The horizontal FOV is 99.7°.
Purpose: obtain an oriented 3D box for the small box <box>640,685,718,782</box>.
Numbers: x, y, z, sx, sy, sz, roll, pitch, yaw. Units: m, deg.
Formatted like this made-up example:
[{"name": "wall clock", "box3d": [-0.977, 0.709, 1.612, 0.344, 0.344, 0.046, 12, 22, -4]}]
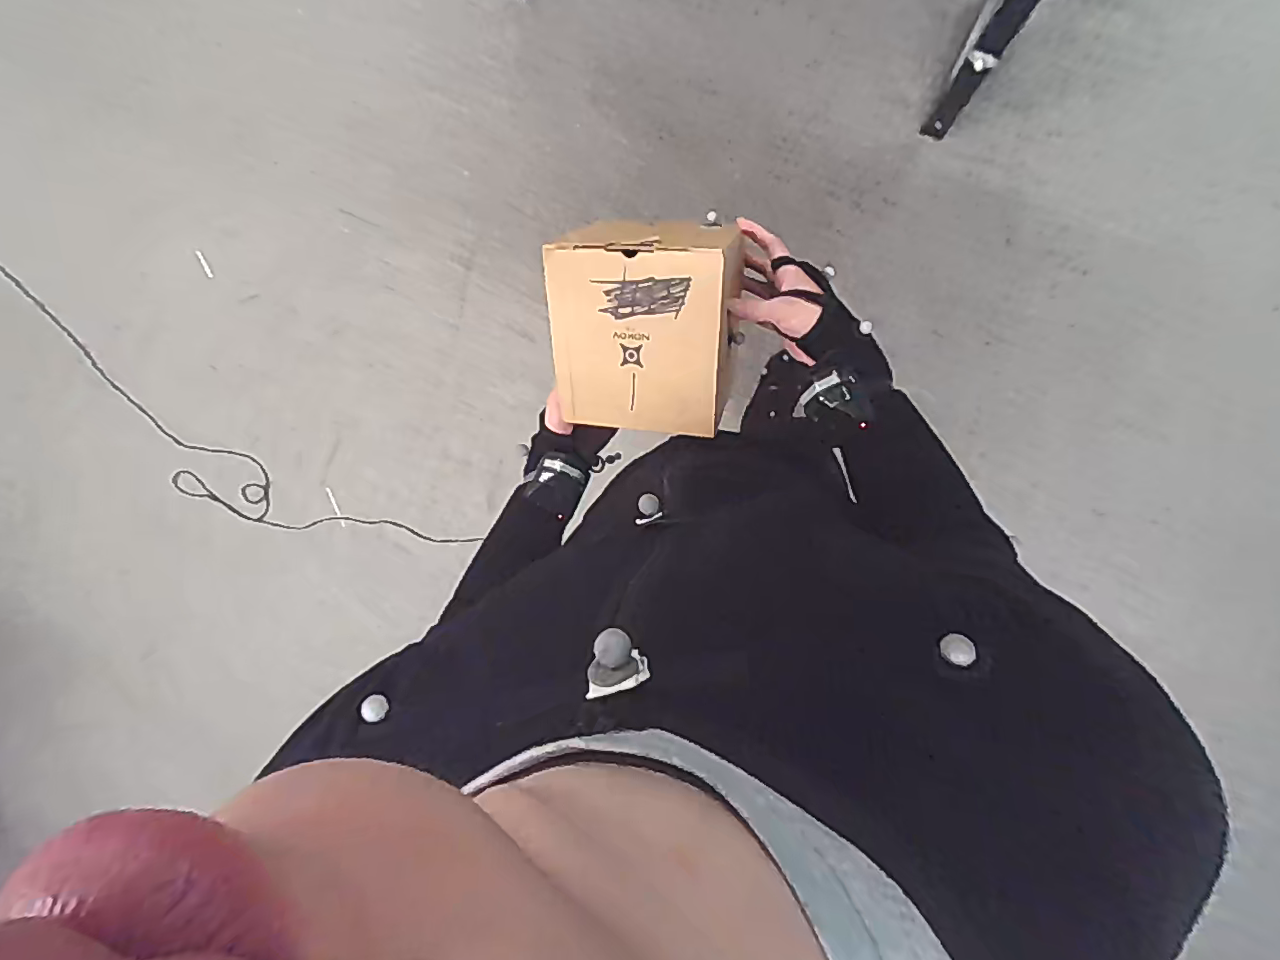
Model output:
[{"name": "small box", "box3d": [0.121, 0.736, 1.580, 0.168, 0.176, 0.179, -23, 92, 13]}]
